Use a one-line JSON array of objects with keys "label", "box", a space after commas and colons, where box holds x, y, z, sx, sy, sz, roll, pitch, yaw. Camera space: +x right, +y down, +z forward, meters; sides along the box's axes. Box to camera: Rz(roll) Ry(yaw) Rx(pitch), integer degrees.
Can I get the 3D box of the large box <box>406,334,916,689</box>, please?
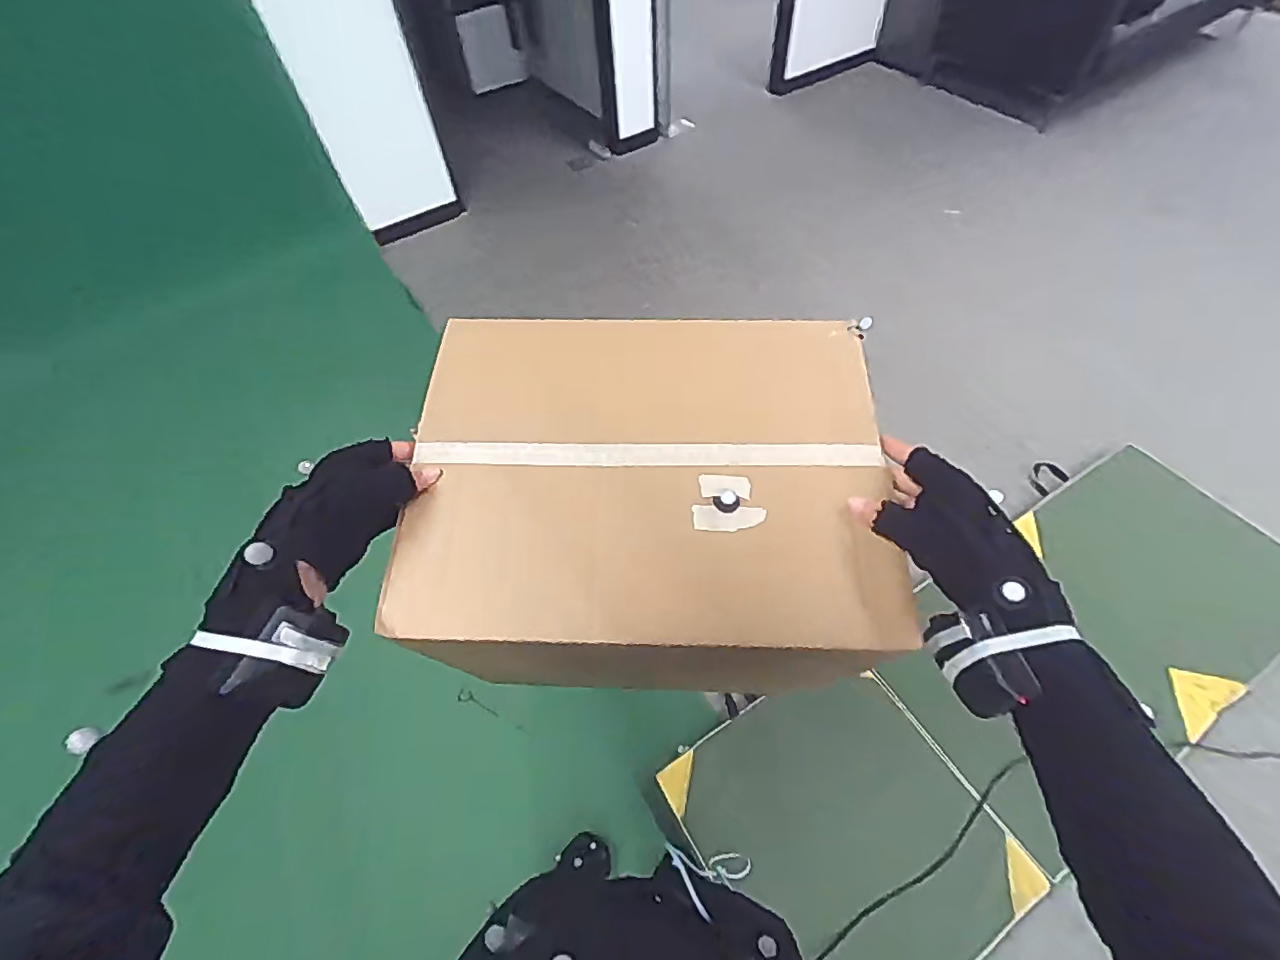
[{"label": "large box", "box": [0.017, 0.056, 0.615, 0.408, 0.320, 0.320, 1, 63, 1]}]
